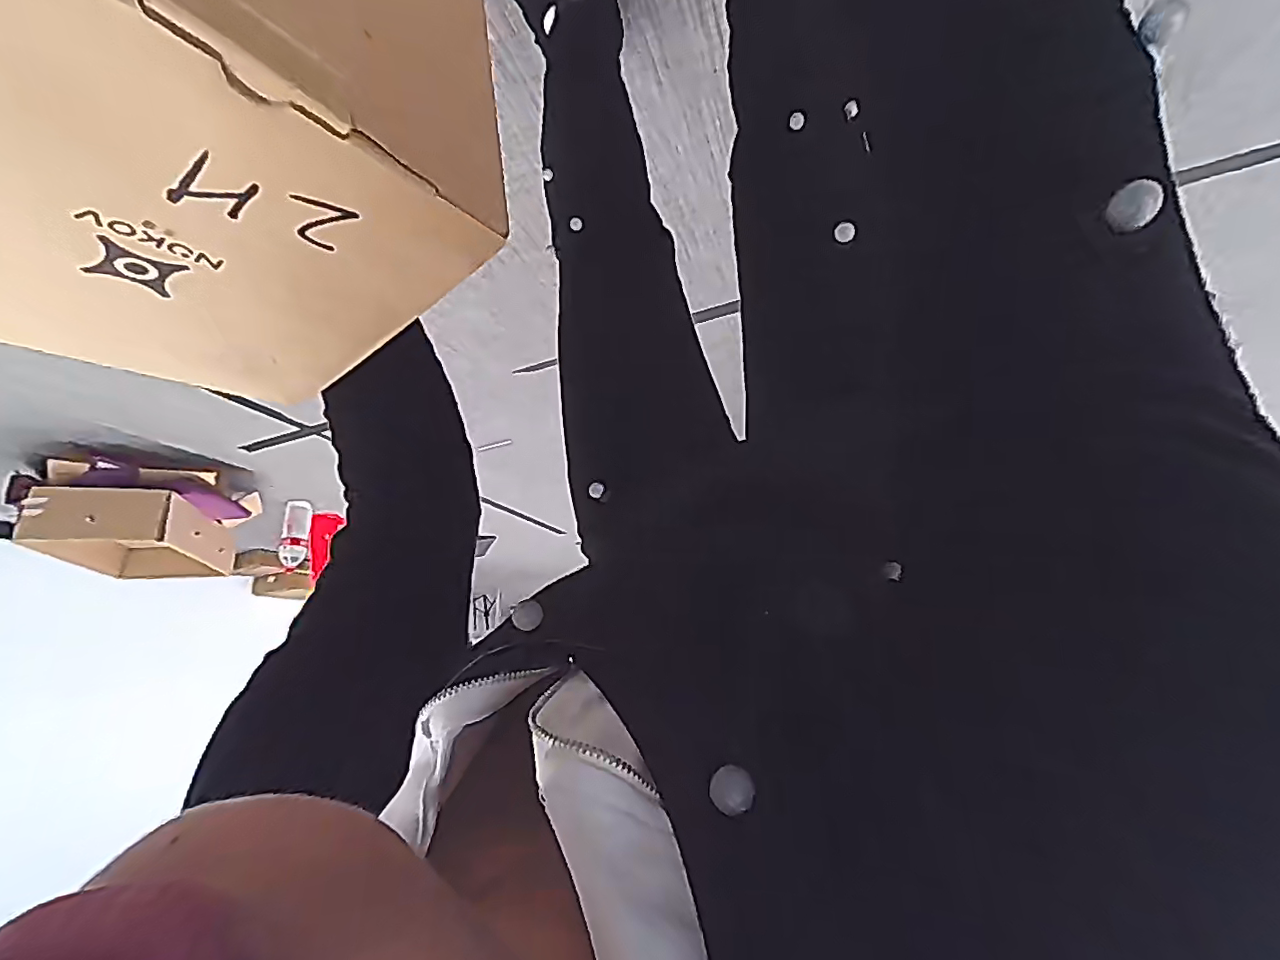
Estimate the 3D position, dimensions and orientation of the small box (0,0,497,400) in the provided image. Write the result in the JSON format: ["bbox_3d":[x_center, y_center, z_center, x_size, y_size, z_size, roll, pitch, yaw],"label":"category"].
[{"bbox_3d":[-0.178,-0.156,0.207,0.179,0.176,0.168,-20,161,31],"label":"small box"}]
